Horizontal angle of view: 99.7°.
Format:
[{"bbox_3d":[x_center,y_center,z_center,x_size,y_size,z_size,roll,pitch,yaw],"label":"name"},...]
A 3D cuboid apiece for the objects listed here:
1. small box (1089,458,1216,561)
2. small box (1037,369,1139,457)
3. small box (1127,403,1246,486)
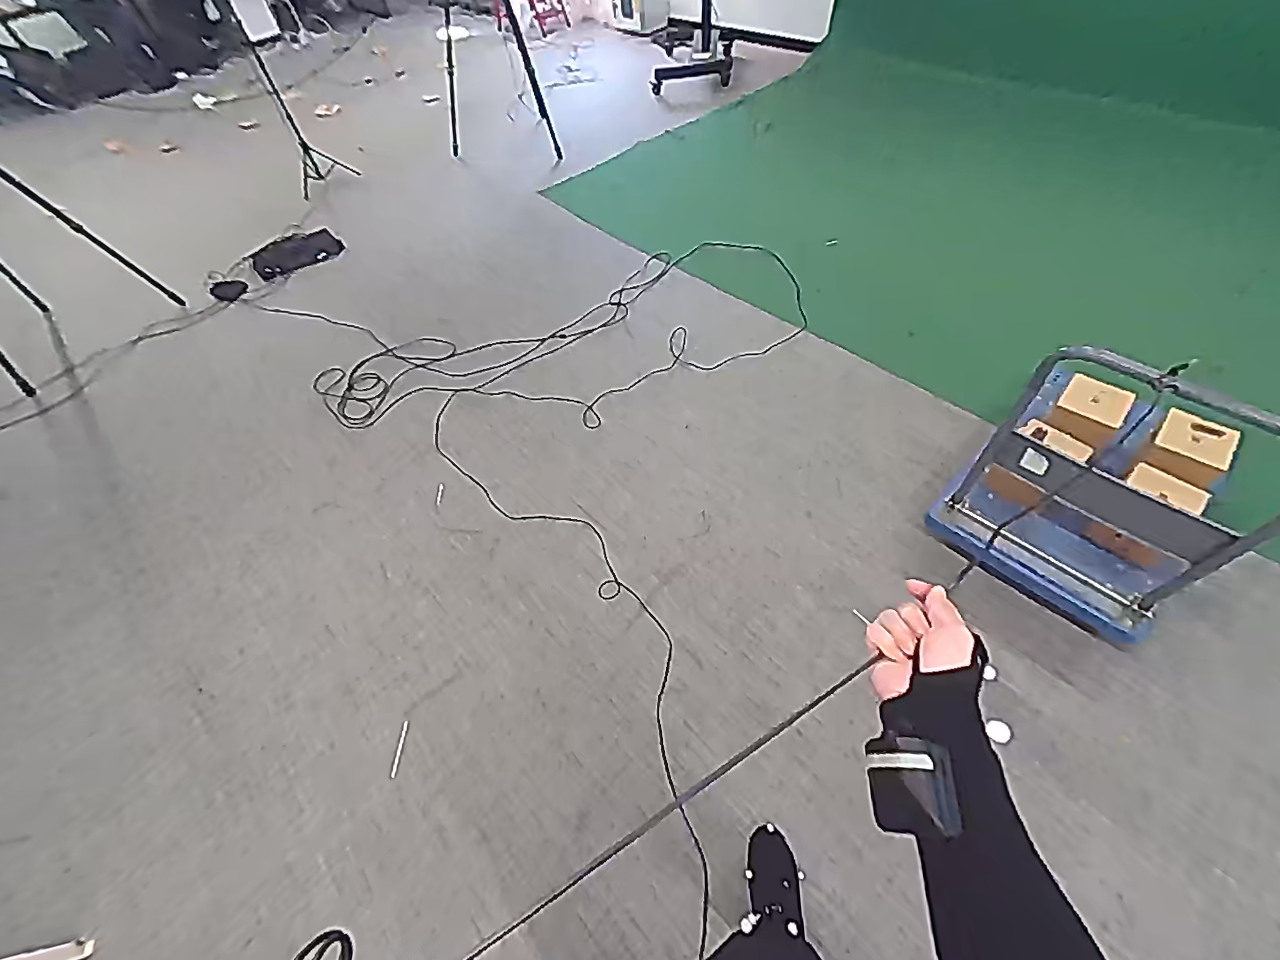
[{"bbox_3d":[1.367,0.082,1.456,0.179,0.176,0.168,-40,59,-20],"label":"small box"},{"bbox_3d":[1.372,-0.202,1.670,0.168,0.176,0.179,34,64,27],"label":"small box"},{"bbox_3d":[1.560,-0.081,1.554,0.168,0.176,0.179,33,64,28],"label":"small box"}]
